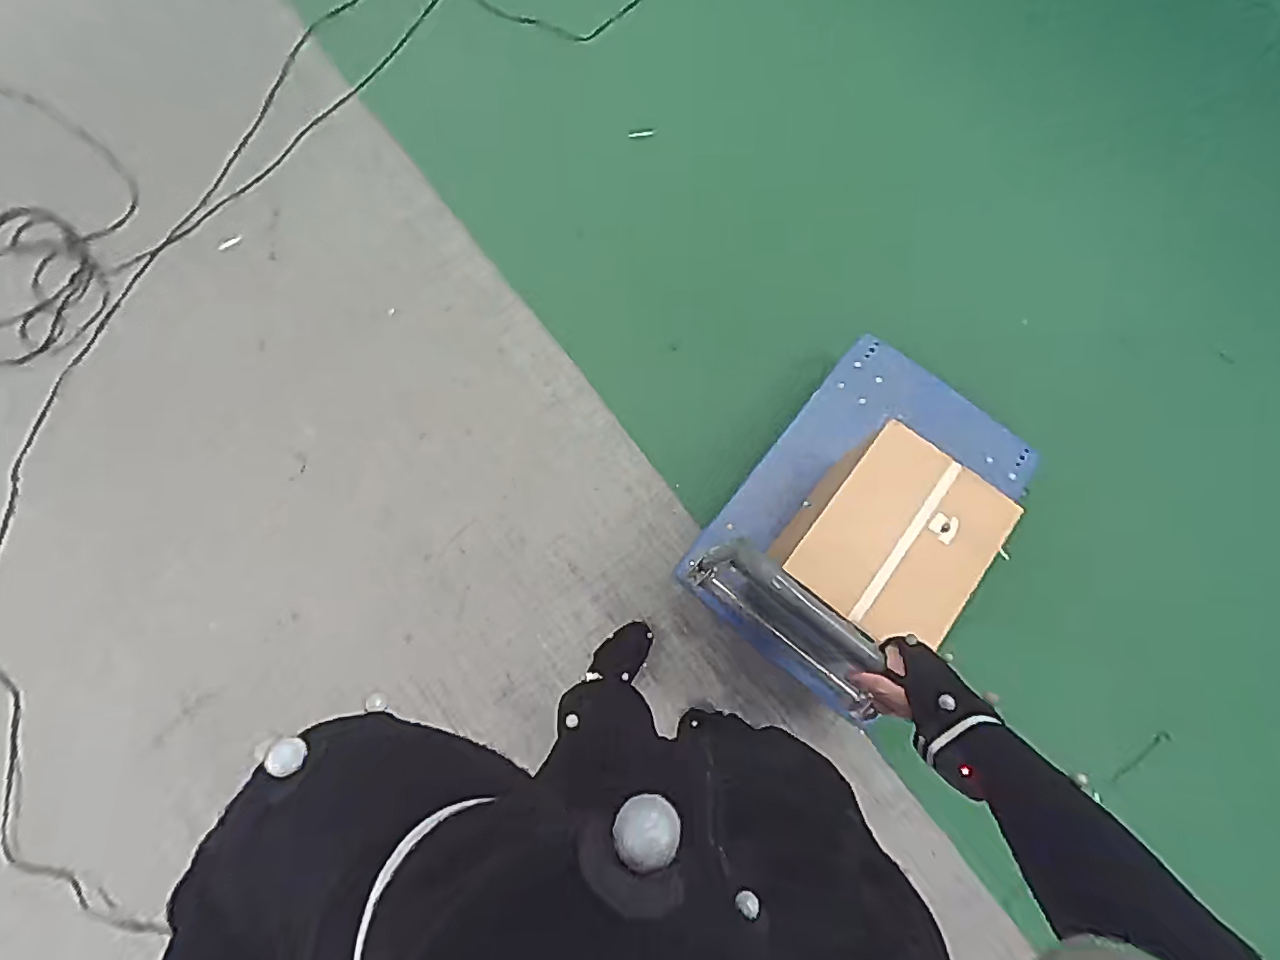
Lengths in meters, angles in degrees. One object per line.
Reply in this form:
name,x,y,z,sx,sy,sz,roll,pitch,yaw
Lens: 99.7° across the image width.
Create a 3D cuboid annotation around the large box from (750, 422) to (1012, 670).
large box,0.506,0.156,1.206,0.320,0.320,0.408,38,77,8
